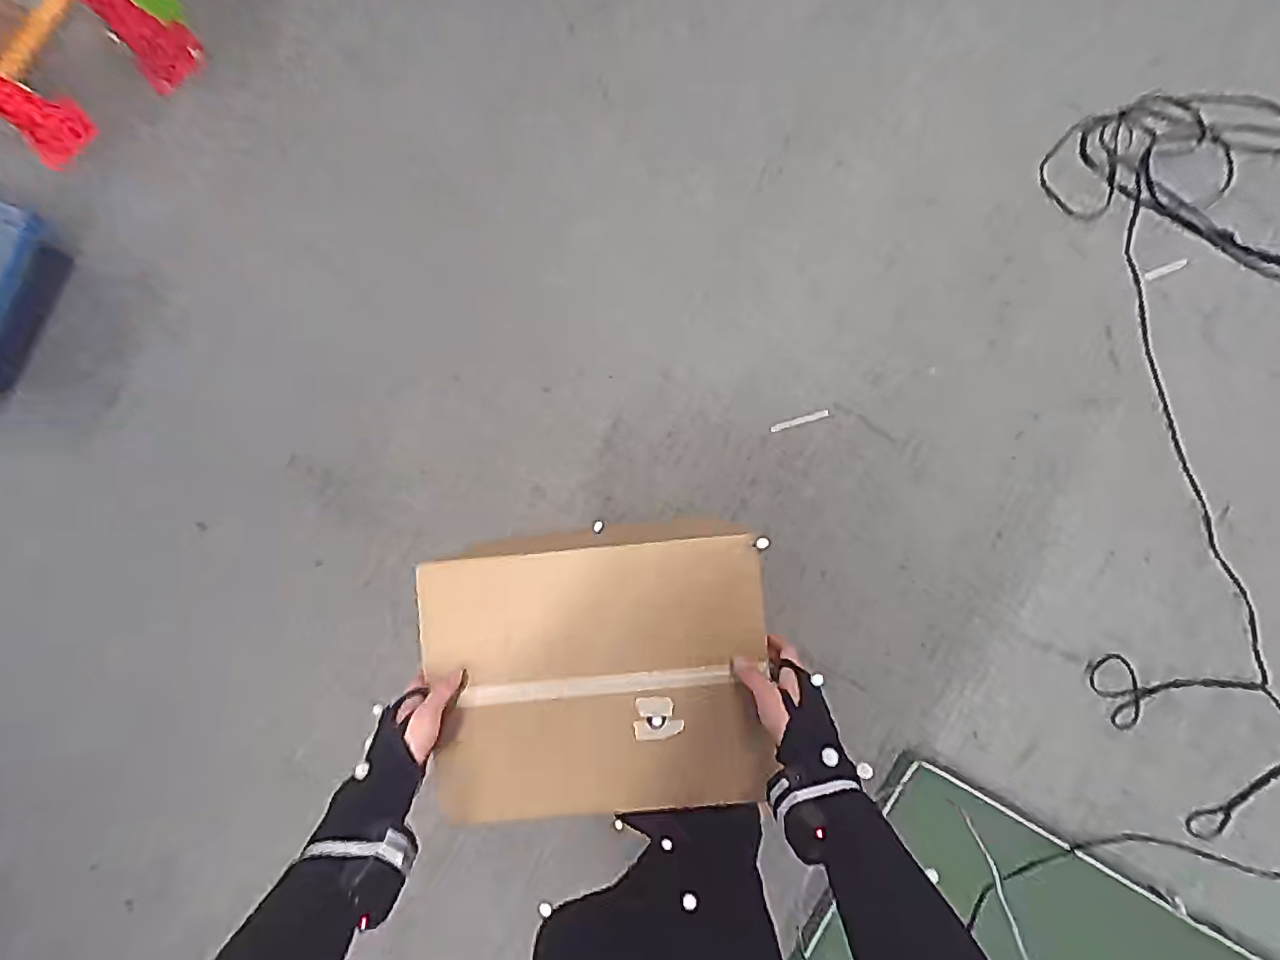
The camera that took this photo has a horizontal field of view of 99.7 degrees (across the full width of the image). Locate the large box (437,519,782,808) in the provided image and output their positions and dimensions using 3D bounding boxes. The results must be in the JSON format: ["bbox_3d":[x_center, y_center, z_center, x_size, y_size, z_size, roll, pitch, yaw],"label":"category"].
[{"bbox_3d":[-0.037,0.232,0.802,0.408,0.320,0.320,-4,90,1],"label":"large box"}]
